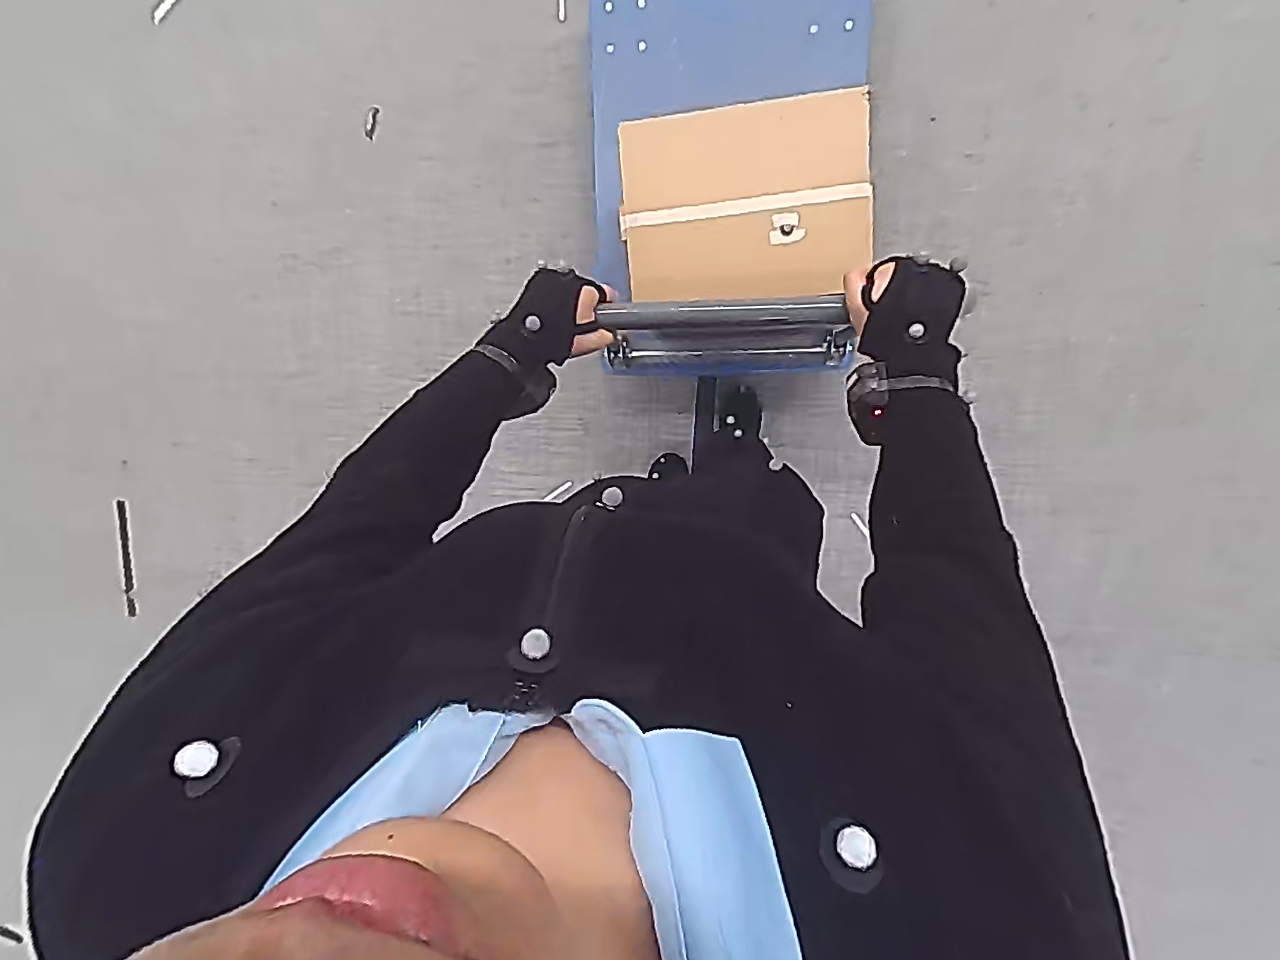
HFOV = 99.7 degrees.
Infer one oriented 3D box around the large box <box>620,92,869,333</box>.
[{"bbox_3d":[0.190,-0.480,1.056,0.408,0.320,0.320,-4,100,7],"label":"large box"}]
